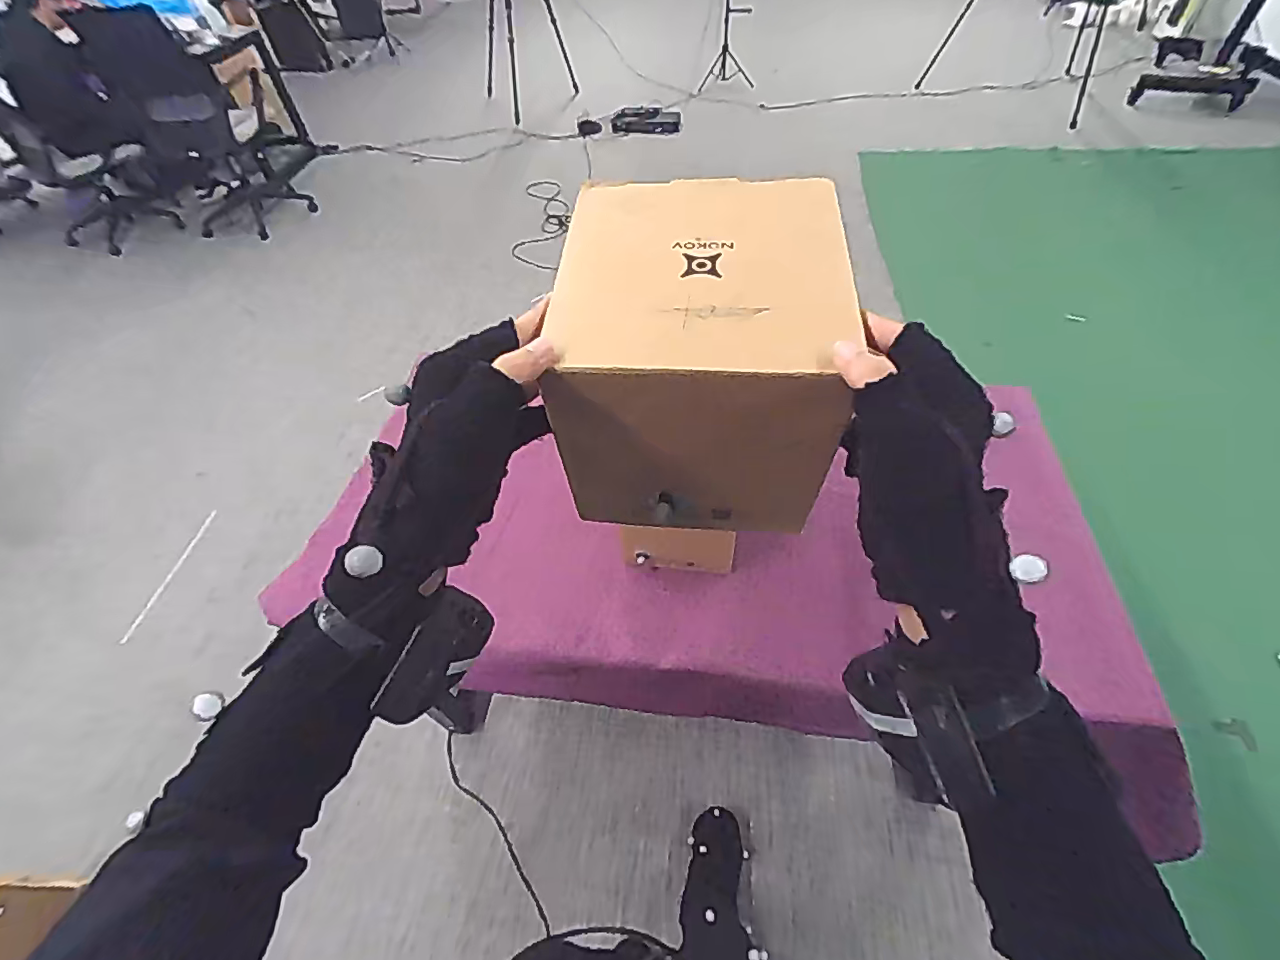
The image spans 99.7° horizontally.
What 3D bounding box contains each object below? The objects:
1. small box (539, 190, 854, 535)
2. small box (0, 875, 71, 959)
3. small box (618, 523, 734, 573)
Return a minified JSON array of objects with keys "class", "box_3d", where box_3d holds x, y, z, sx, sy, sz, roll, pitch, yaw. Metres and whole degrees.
[{"class":"small box","box_3d":[0.039,-0.080,0.388,0.168,0.176,0.179,3,57,6]},{"class":"small box","box_3d":[-1.226,0.833,0.983,0.168,0.176,0.179,3,51,6]},{"class":"small box","box_3d":[0.063,0.023,0.819,0.168,0.176,0.179,5,51,8]}]
